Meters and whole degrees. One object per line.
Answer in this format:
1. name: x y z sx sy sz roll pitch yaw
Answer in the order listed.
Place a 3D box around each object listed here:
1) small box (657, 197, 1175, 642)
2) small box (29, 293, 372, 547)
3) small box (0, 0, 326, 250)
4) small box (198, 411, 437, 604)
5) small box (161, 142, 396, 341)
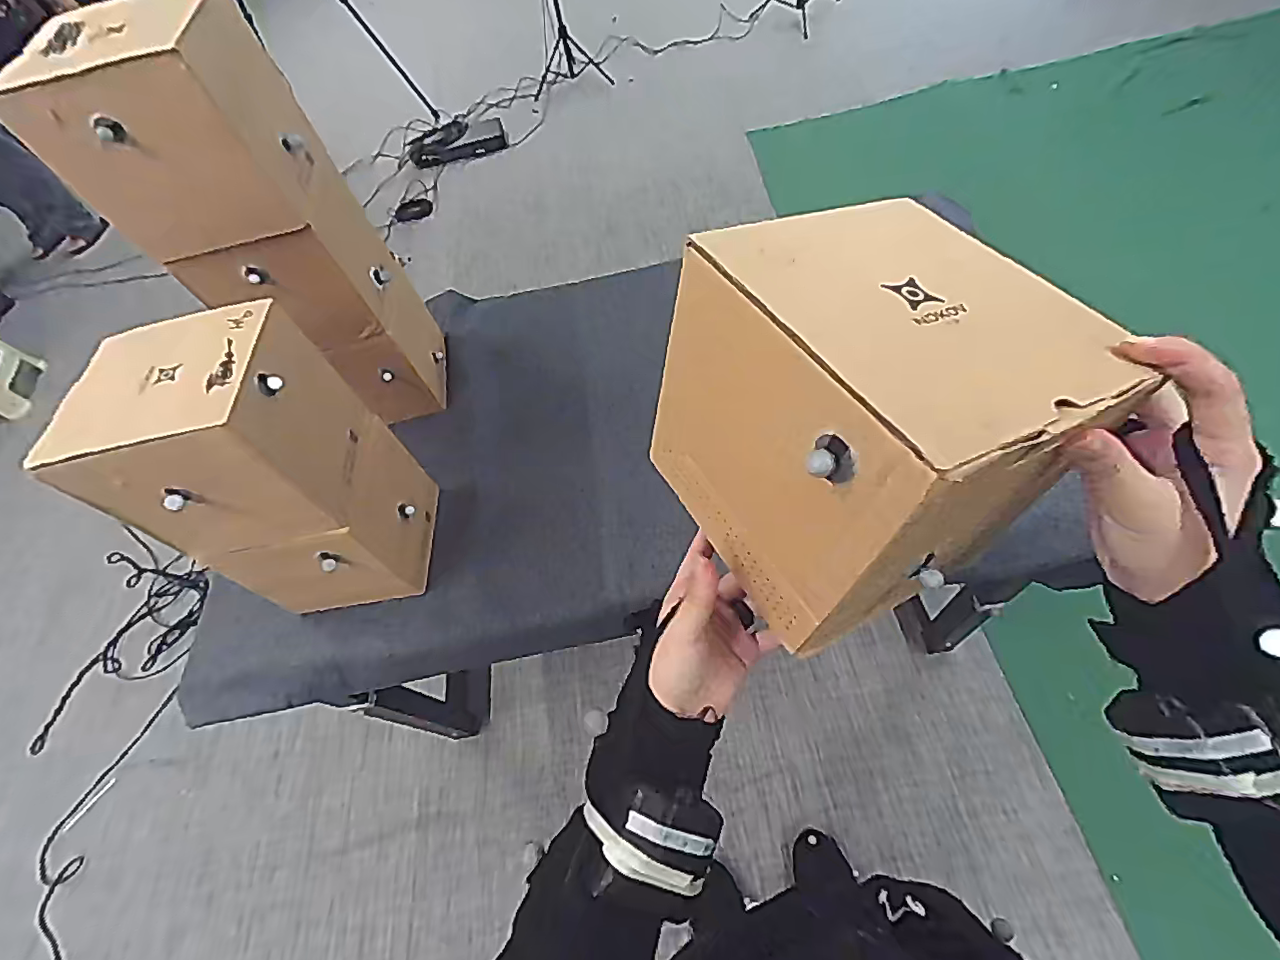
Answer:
1. small box: 0.126 -0.038 0.321 0.168 0.176 0.179 -21 57 -23
2. small box: -0.405 -0.050 0.539 0.179 0.176 0.168 -13 56 3
3. small box: -0.463 -0.364 0.551 0.179 0.176 0.168 -12 60 2
4. small box: -0.376 0.041 0.672 0.179 0.176 0.168 -9 55 5
5. small box: -0.444 -0.289 0.696 0.179 0.176 0.168 -14 60 0
